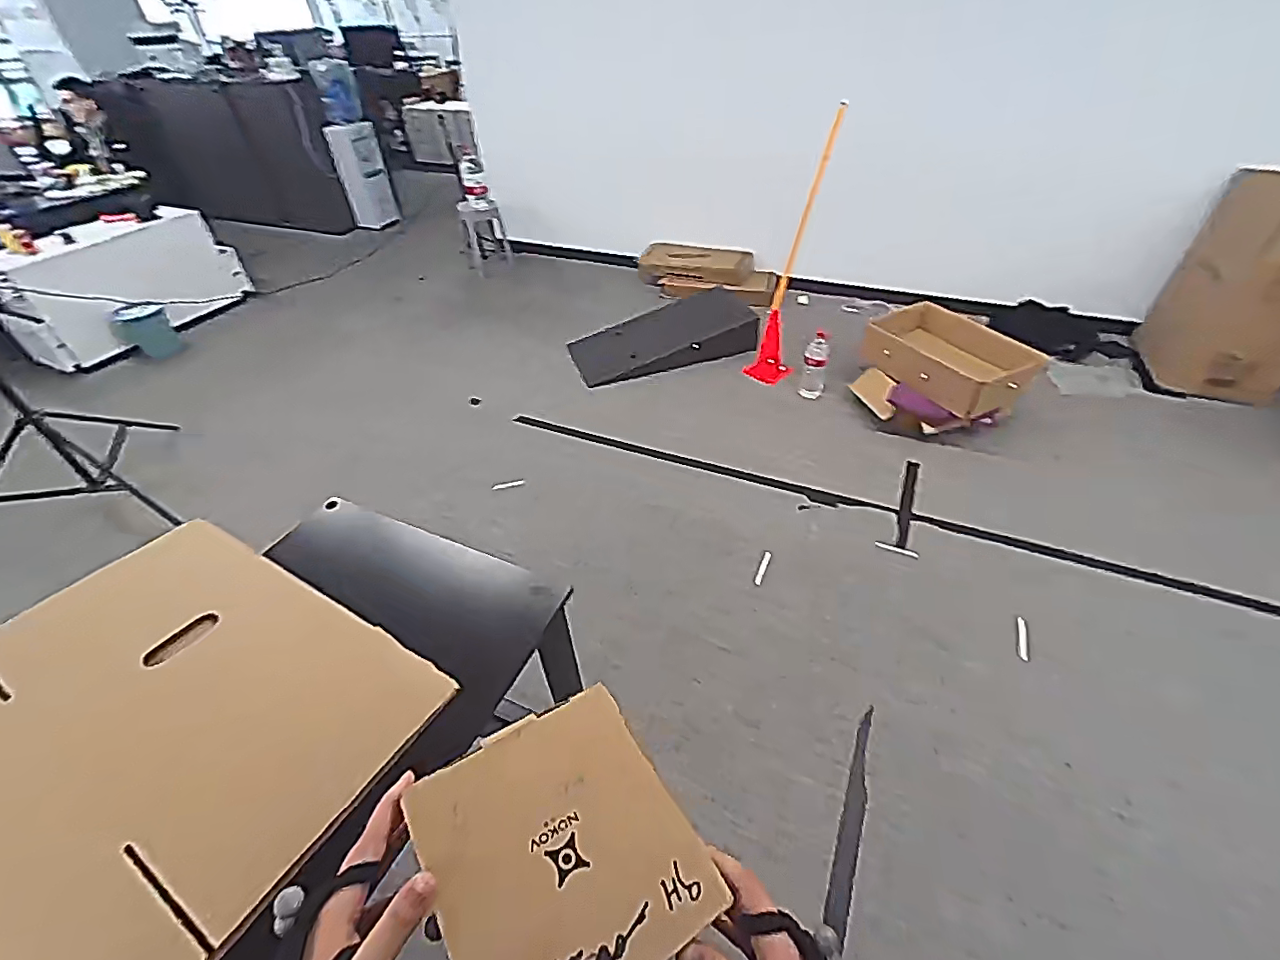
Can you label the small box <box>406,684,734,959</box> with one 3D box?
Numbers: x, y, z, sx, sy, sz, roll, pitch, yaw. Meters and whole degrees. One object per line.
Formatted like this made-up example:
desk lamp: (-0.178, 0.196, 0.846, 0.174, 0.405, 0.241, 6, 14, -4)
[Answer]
small box: (-0.061, 0.303, 0.416, 0.168, 0.176, 0.179, -20, 49, -29)
